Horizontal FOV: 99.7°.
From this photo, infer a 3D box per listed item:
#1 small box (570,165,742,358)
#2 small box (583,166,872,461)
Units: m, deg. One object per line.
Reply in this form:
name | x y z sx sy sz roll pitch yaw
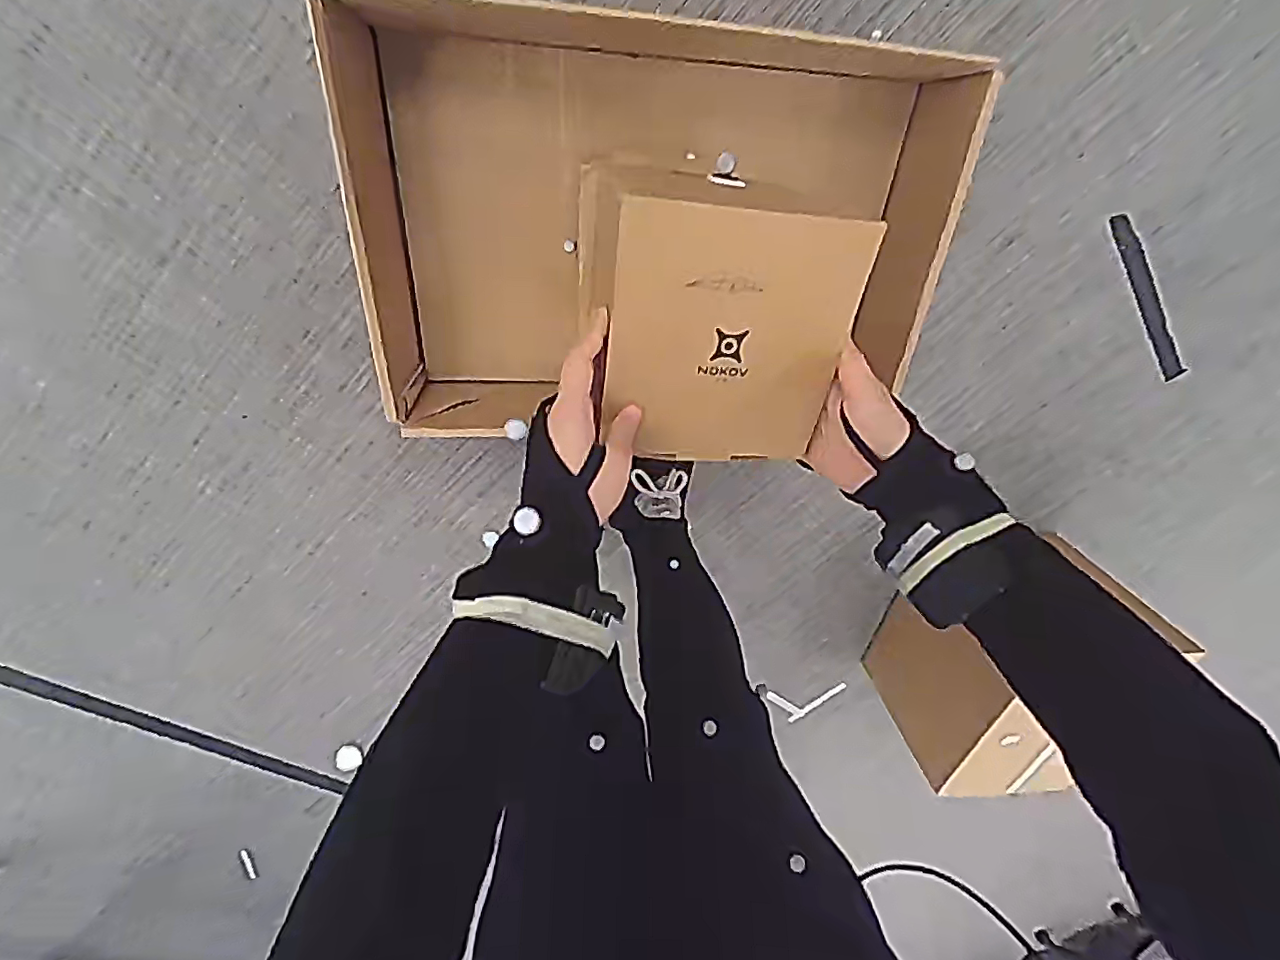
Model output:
small box | 0.007 -0.246 0.605 0.168 0.176 0.179 -1 123 -9
small box | 0.044 -0.133 0.431 0.168 0.176 0.179 0 126 -11
